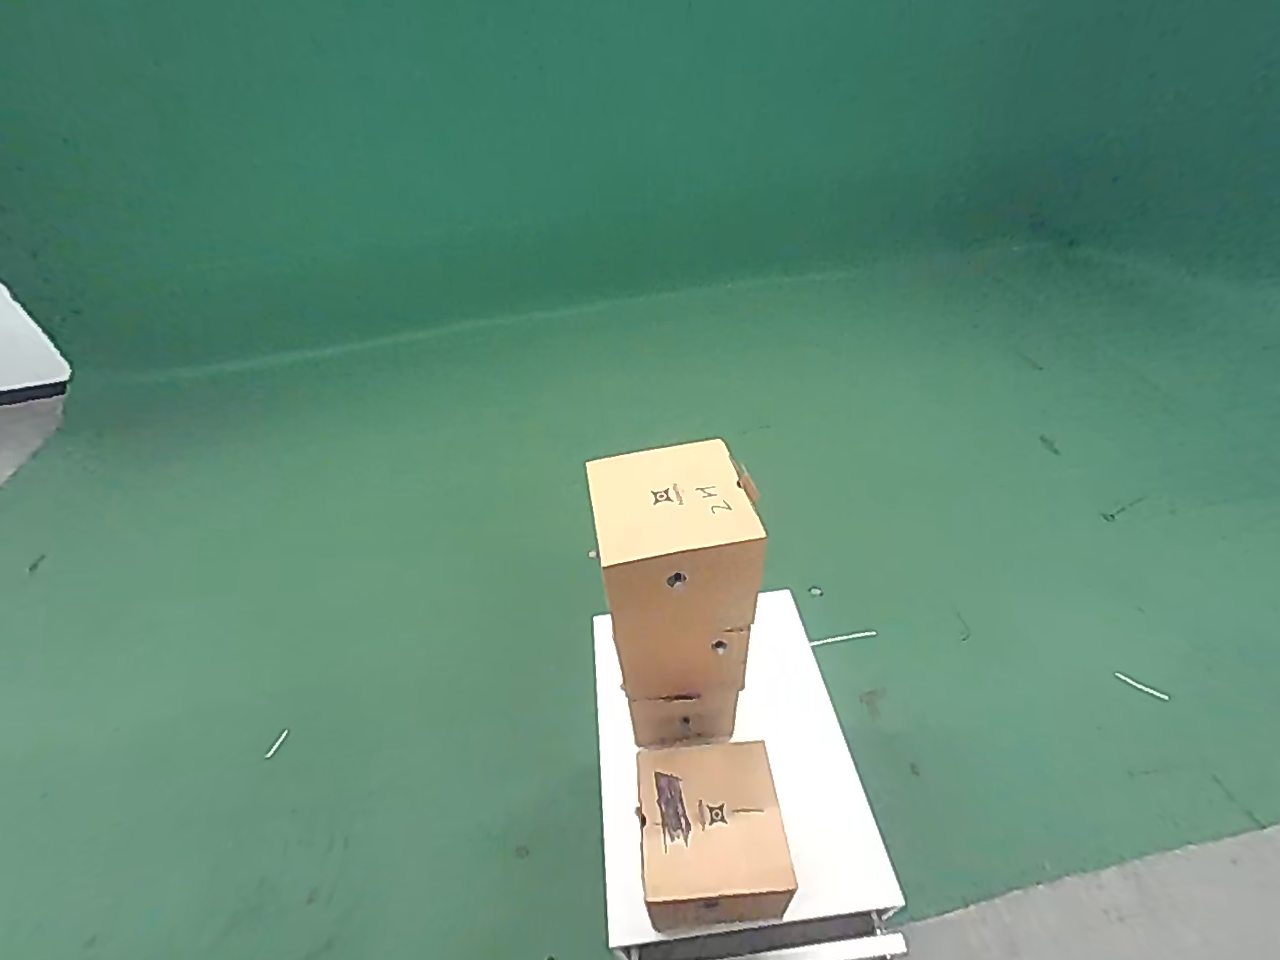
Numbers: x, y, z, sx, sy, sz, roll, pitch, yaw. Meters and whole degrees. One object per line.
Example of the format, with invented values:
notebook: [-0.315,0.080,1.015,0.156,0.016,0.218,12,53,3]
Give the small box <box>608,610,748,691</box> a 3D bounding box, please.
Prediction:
small box: [0.050,0.184,0.770,0.179,0.176,0.168,-4,43,1]

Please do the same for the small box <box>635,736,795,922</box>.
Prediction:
small box: [0.089,0.459,0.710,0.179,0.176,0.168,-5,43,0]

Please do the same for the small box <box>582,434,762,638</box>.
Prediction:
small box: [0.034,0.070,0.653,0.179,0.176,0.168,-9,44,-5]
